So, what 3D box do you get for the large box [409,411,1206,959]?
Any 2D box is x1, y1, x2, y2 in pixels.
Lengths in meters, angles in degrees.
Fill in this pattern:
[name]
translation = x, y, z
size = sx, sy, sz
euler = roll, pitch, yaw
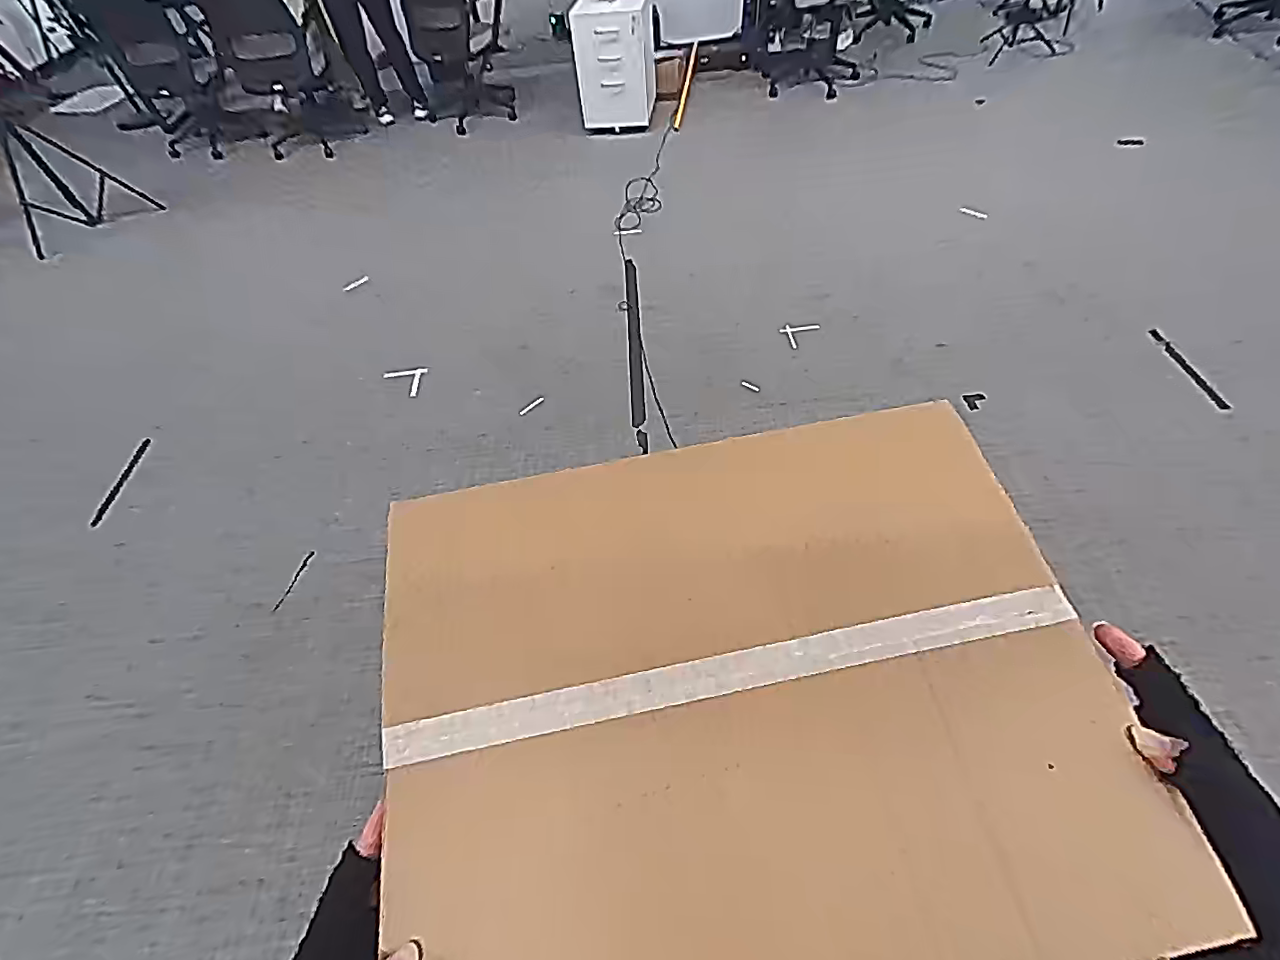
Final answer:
[large box]
translation = 0.065, 0.188, 0.457
size = 0.408, 0.320, 0.320
euler = -11, 62, -3
